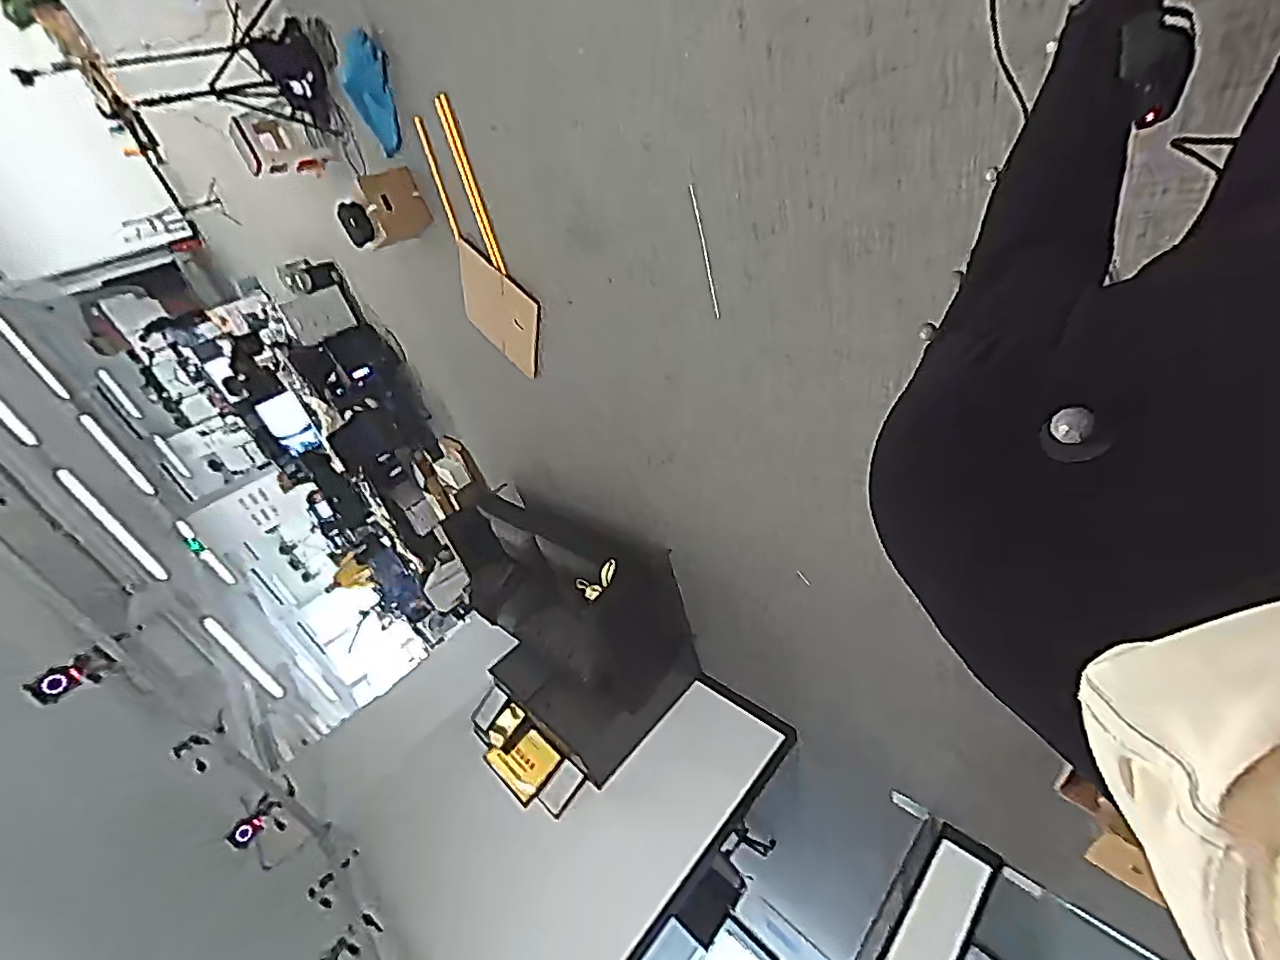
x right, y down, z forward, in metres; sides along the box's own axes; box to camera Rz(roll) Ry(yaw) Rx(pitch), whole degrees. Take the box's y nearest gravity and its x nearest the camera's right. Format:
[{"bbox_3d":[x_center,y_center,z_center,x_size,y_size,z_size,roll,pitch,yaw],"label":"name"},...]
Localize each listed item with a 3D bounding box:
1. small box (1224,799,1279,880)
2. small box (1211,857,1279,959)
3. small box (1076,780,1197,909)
[{"bbox_3d":[1.508,0.881,1.236,0.179,0.176,0.168,26,141,39],"label":"small box"},{"bbox_3d":[1.390,0.963,1.157,0.168,0.176,0.179,26,141,38],"label":"small box"},{"bbox_3d":[1.206,0.876,1.313,0.168,0.176,0.179,25,141,39],"label":"small box"}]
